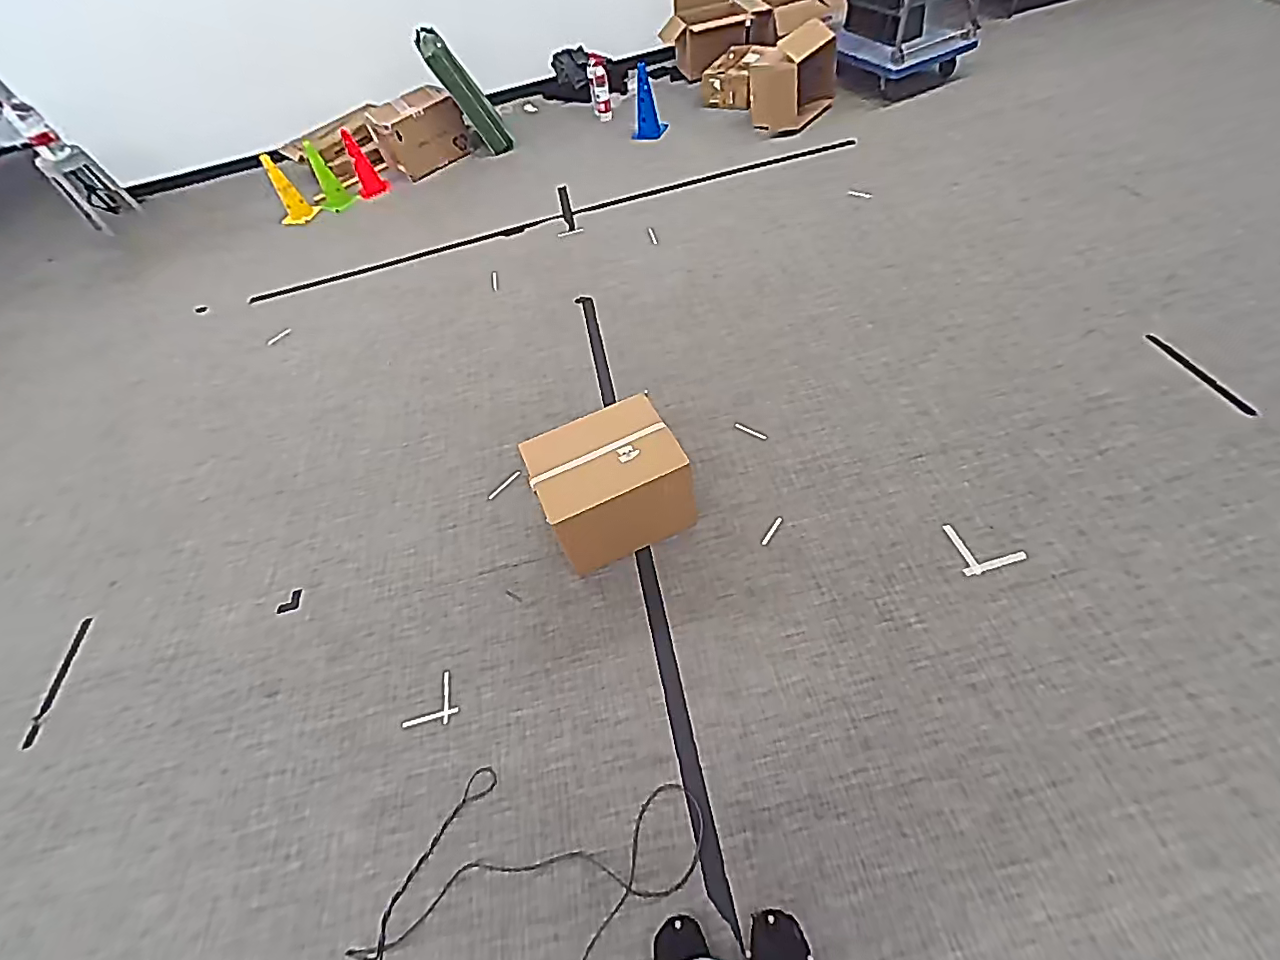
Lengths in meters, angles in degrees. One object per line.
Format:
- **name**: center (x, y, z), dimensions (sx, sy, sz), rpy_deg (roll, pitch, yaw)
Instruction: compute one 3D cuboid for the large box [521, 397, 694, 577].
- **large box**: center (-0.087, 0.024, 1.612), dimensions (0.408, 0.320, 0.320), rpy_deg (-23, 54, -8)
